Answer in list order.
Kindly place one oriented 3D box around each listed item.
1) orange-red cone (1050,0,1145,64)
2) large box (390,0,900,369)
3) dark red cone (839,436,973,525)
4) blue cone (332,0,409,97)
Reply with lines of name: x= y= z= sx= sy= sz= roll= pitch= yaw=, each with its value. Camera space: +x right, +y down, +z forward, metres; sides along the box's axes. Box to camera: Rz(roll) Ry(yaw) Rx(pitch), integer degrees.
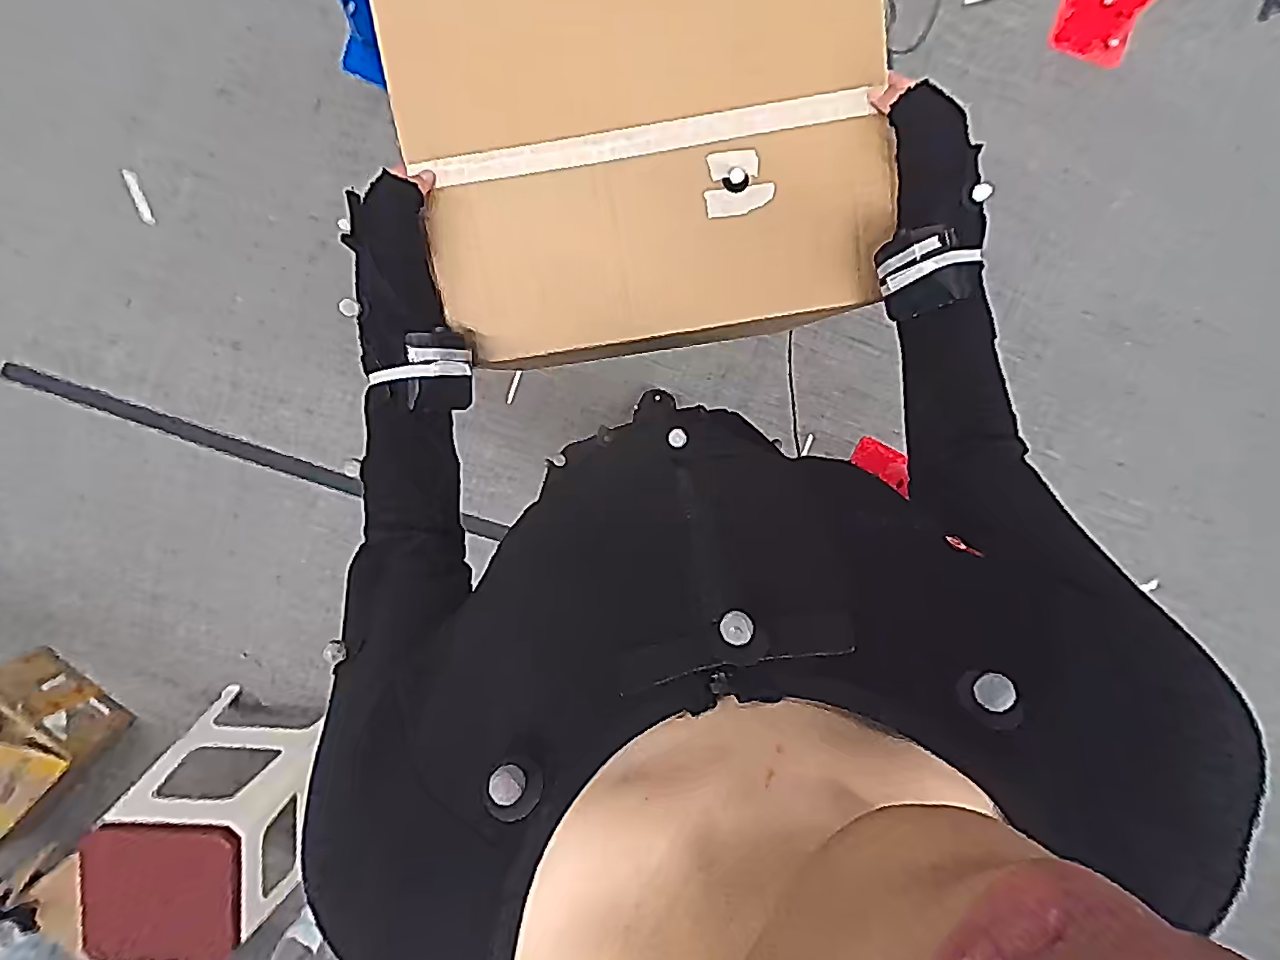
orange-red cone: x=1.169 y=-1.173 z=1.211 sx=0.198 sy=0.360 sz=0.199 roll=17 pitch=94 yaw=-5
large box: x=0.009 y=-0.313 z=0.603 sx=0.408 sy=0.320 sz=0.320 roll=-9 pitch=101 yaw=-1
dark red cone: x=0.667 y=0.023 z=1.306 sx=0.201 sy=0.394 sz=0.202 roll=25 pitch=95 yaw=-4
blue cone: x=-0.615 y=-1.038 z=1.159 sx=0.192 sy=0.380 sz=0.193 roll=23 pitch=95 yaw=-4
